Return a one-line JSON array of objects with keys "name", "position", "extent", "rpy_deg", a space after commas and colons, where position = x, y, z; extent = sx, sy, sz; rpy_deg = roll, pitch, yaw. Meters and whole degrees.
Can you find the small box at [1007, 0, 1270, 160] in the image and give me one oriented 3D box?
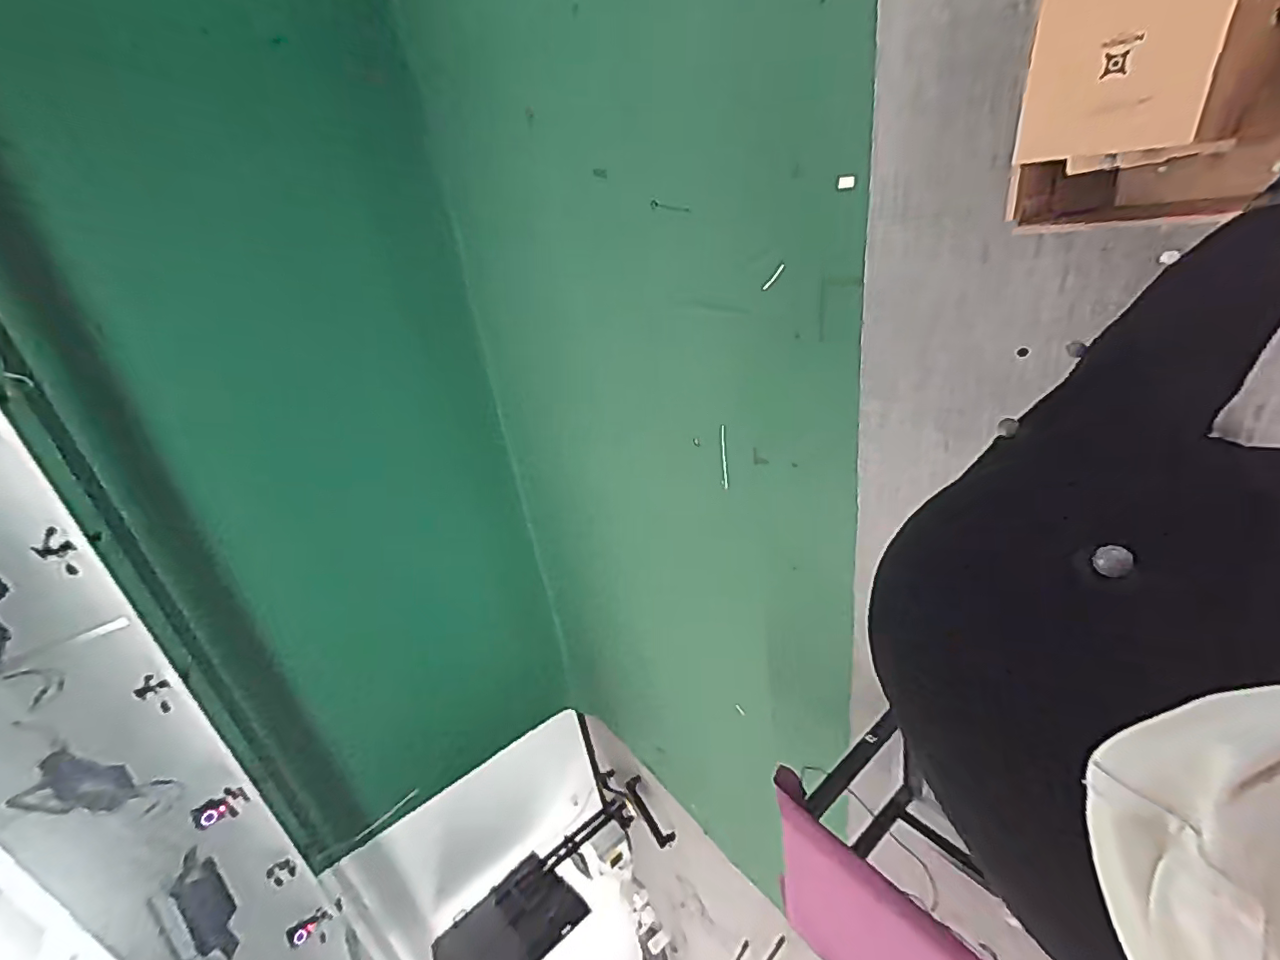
[{"name": "small box", "position": [0.554, -0.468, 0.605], "extent": [0.168, 0.176, 0.179], "rpy_deg": [27, 132, 47]}]
